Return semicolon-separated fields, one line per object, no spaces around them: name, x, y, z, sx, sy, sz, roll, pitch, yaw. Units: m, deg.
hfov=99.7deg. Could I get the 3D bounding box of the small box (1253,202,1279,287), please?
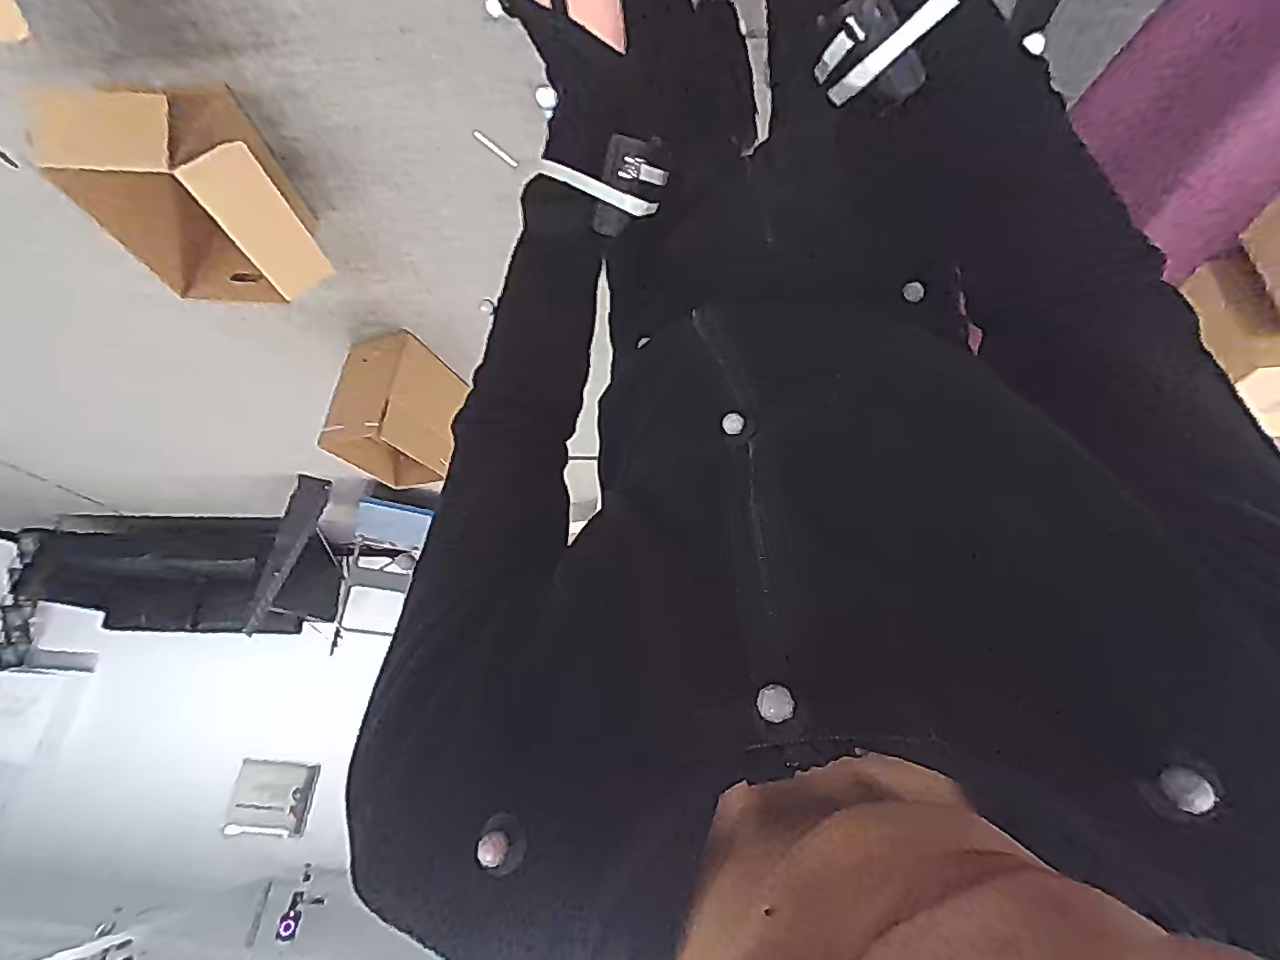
small box;0.777;-0.254;0.521;0.179;0.176;0.168;-3;156;14
